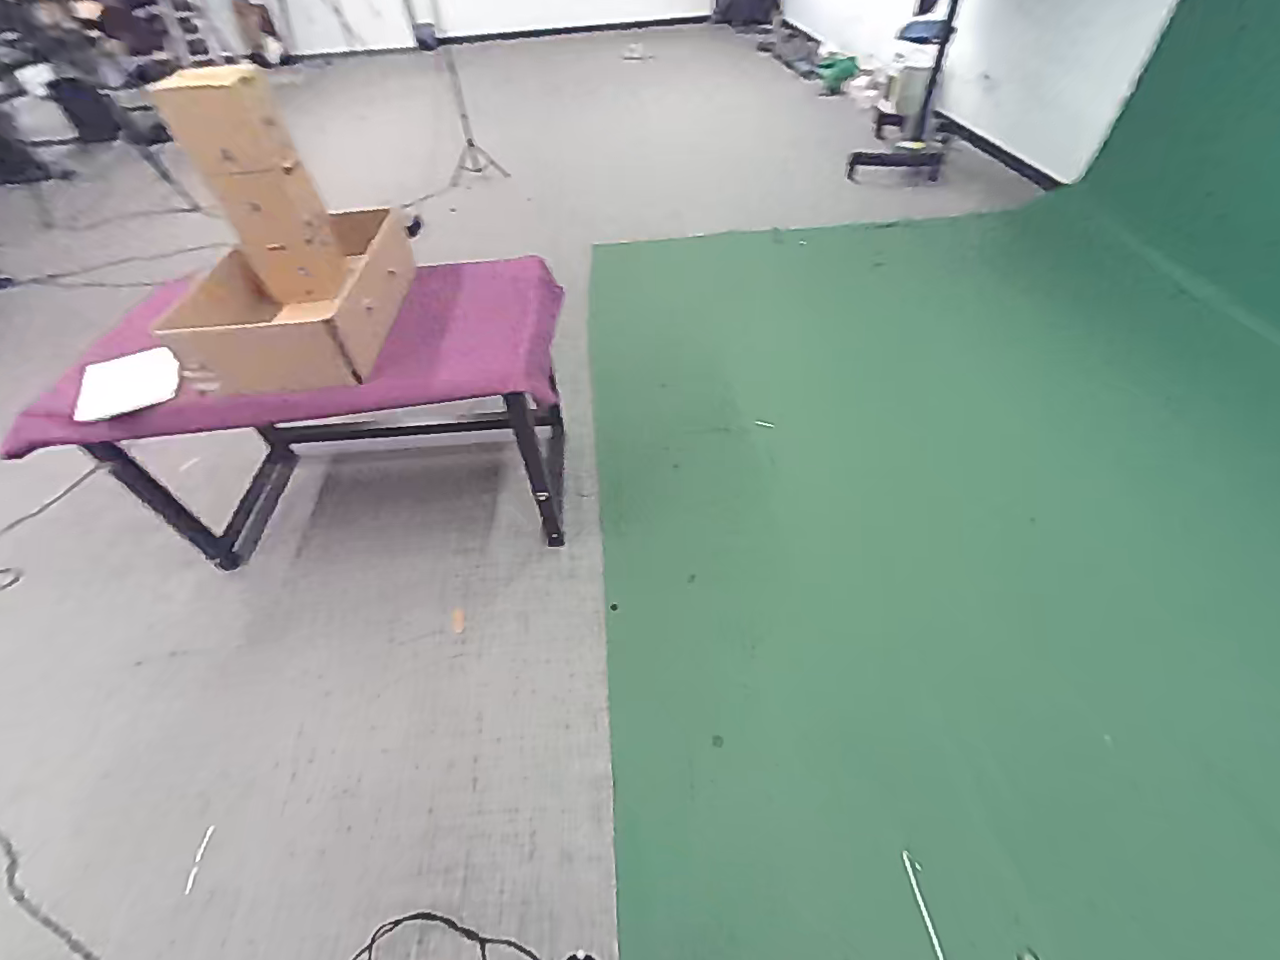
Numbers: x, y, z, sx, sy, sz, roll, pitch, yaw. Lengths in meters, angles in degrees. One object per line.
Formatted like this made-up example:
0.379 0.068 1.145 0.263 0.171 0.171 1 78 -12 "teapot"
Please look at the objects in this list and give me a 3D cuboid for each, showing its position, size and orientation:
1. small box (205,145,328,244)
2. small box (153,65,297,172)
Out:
-0.926 -0.718 1.364 0.179 0.176 0.168 -6 49 -2 "small box"
-0.936 -0.829 1.244 0.179 0.176 0.168 -4 48 -1 "small box"
